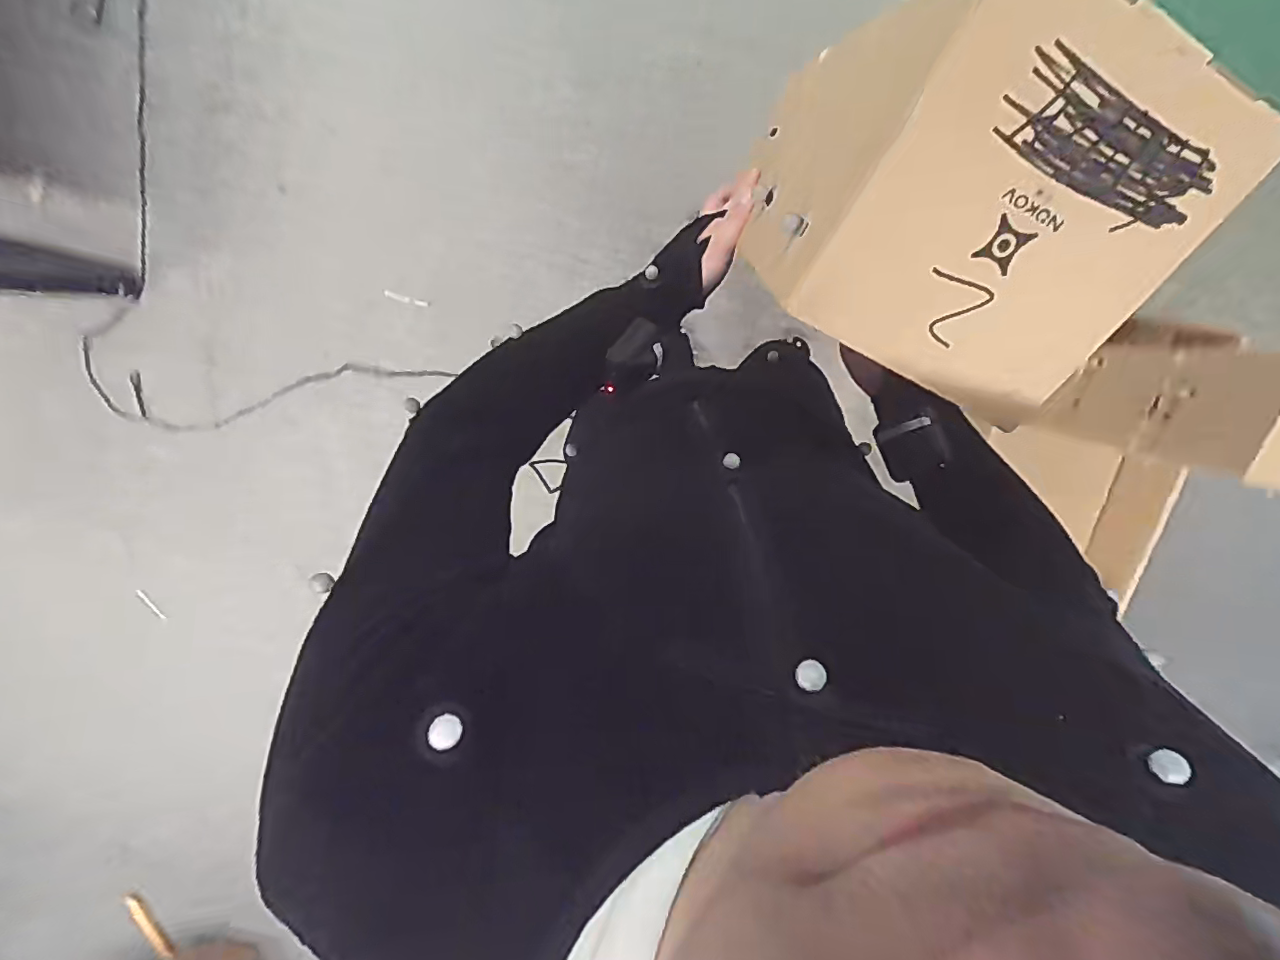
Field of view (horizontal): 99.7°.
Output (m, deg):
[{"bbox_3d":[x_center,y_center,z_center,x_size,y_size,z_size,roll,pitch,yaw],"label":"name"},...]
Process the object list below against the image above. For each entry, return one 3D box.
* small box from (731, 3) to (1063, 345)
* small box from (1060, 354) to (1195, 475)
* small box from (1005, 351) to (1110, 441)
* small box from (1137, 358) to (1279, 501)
[{"bbox_3d":[0.192,-0.251,0.471,0.168,0.176,0.179,23,119,-11],"label":"small box"},{"bbox_3d":[0.860,-0.108,0.896,0.179,0.176,0.168,13,106,-4],"label":"small box"},{"bbox_3d":[0.863,-0.157,1.054,0.179,0.176,0.168,9,106,-2],"label":"small box"},{"bbox_3d":[0.862,-0.065,0.739,0.179,0.176,0.168,14,106,-3],"label":"small box"}]
